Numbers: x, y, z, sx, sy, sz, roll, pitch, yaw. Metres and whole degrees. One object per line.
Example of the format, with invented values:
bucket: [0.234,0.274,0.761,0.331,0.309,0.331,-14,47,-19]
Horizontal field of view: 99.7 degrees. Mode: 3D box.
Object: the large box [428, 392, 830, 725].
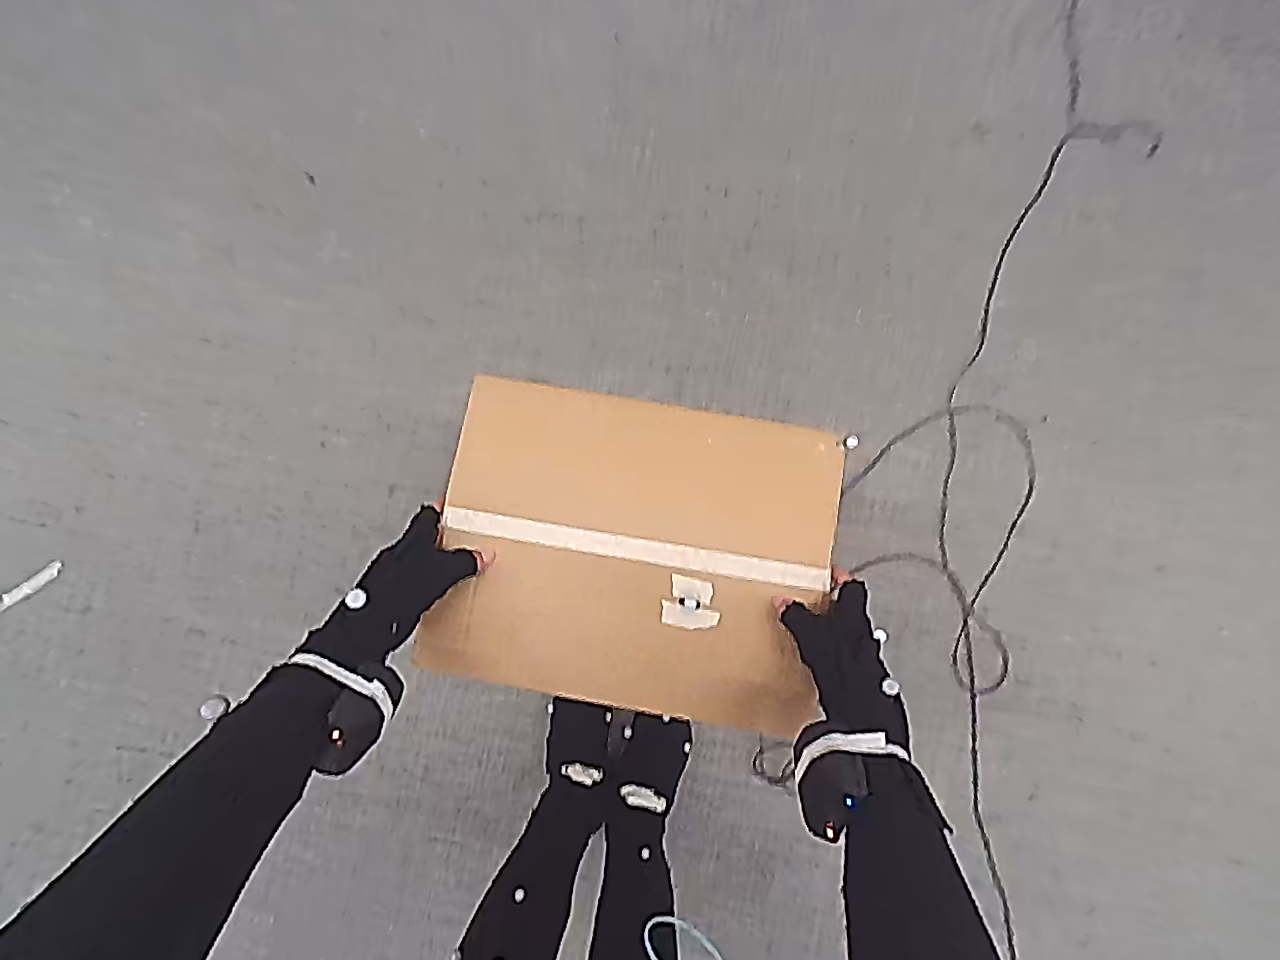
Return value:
large box: [-0.006,0.101,0.731,0.408,0.320,0.320,9,81,2]
